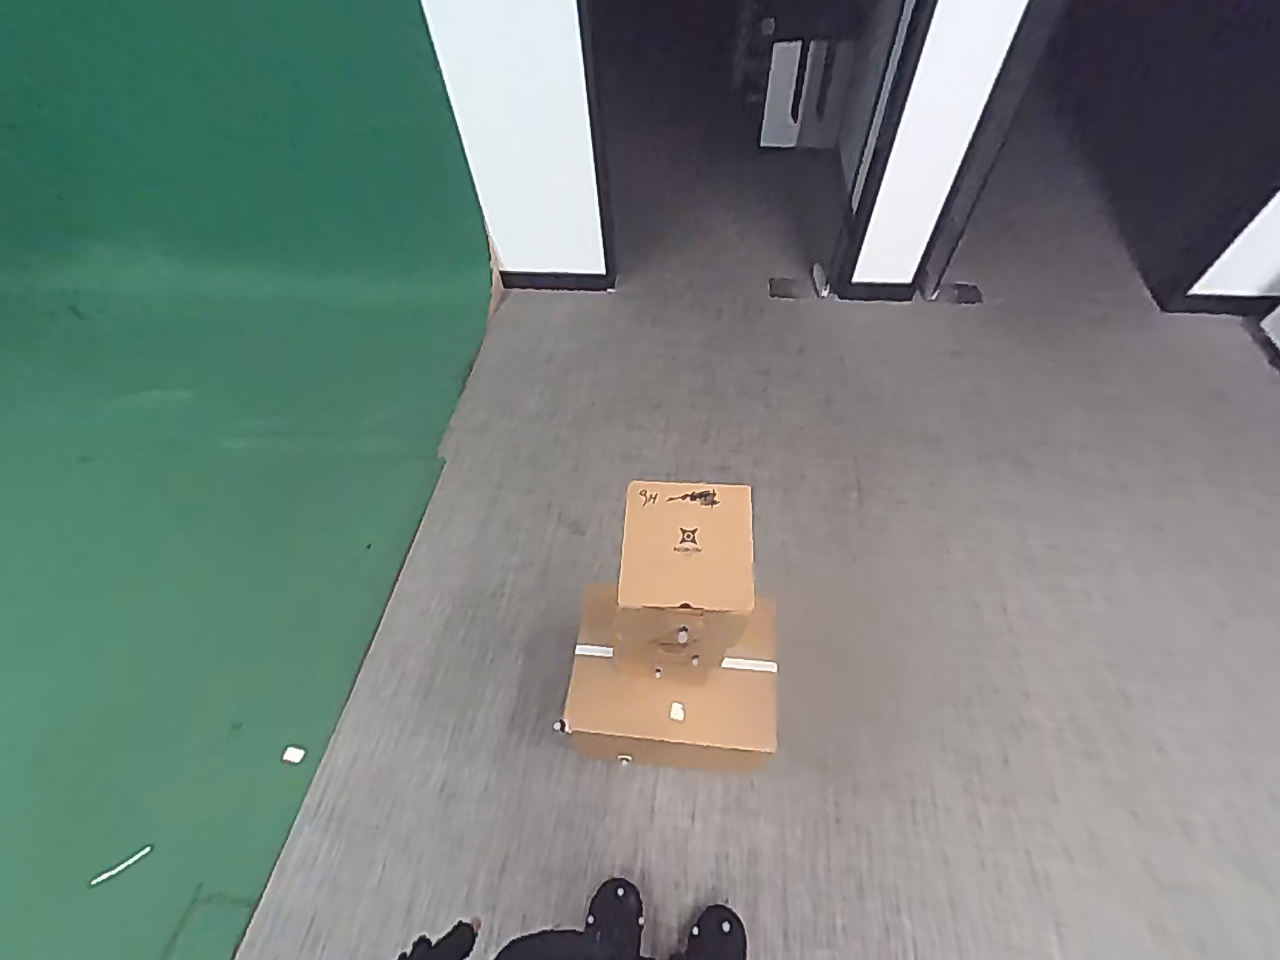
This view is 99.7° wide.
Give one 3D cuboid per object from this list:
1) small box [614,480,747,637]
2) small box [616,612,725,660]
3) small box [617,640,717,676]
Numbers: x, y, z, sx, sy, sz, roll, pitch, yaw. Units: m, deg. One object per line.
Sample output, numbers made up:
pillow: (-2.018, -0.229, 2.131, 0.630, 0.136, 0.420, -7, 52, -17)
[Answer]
small box: (0.060, 0.117, 0.761, 0.168, 0.176, 0.179, 2, 62, 4)
small box: (0.055, 0.196, 0.904, 0.168, 0.176, 0.179, 2, 60, 4)
small box: (0.057, 0.277, 1.045, 0.179, 0.176, 0.168, 4, 62, 5)
